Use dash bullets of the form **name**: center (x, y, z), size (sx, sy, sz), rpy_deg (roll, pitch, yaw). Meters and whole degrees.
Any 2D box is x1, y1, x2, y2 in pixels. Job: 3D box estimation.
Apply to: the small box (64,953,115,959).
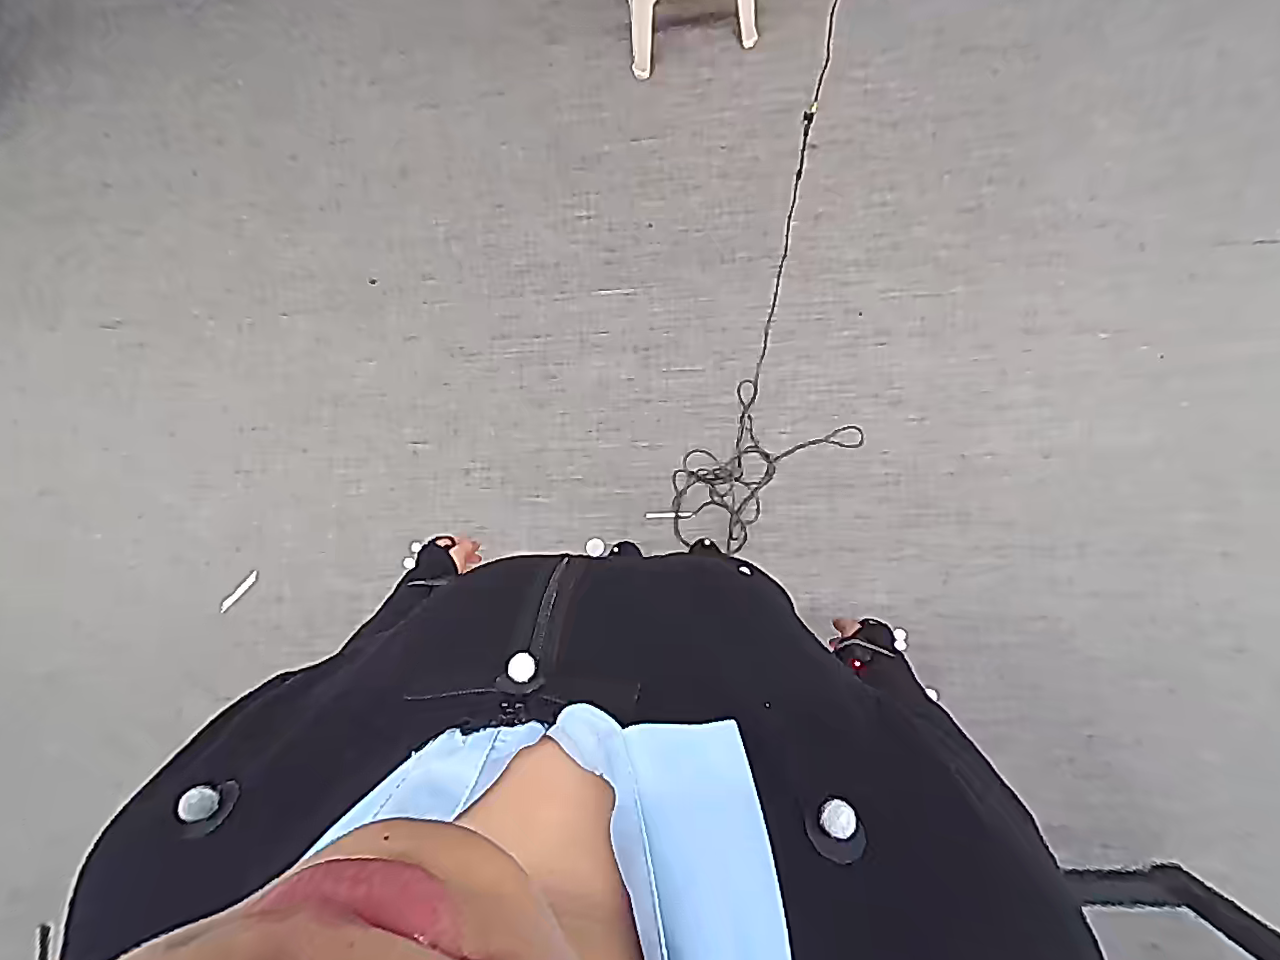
- **small box**: center (-1.563, 1.425, 1.453), size (0.179, 0.176, 0.168), rpy_deg (0, 83, 6)
